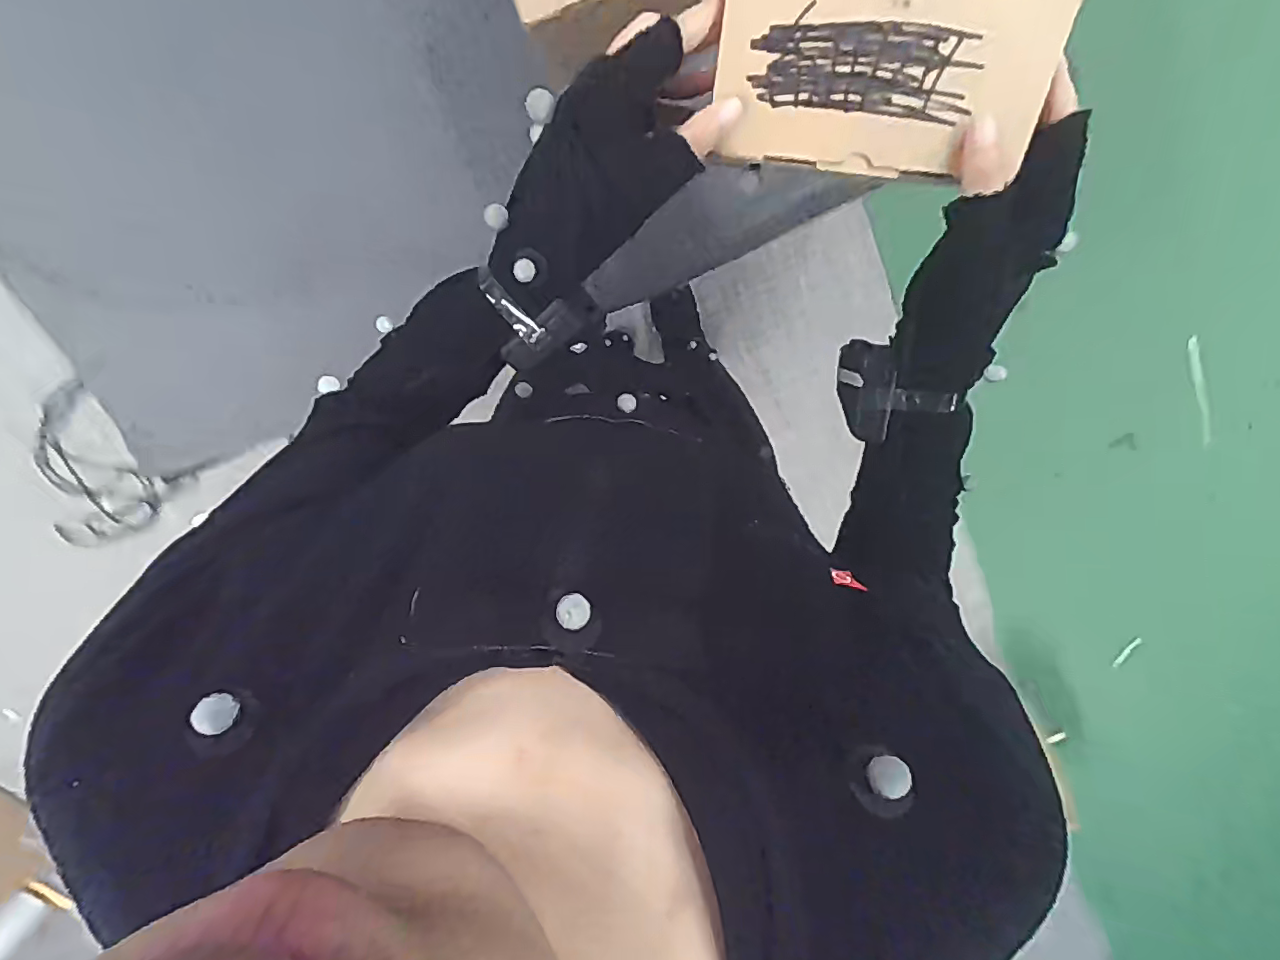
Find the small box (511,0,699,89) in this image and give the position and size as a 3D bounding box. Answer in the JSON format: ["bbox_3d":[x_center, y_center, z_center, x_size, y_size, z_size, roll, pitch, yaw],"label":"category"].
[{"bbox_3d":[-0.047,-0.495,0.478,0.168,0.176,0.179,-18,109,7],"label":"small box"}]
